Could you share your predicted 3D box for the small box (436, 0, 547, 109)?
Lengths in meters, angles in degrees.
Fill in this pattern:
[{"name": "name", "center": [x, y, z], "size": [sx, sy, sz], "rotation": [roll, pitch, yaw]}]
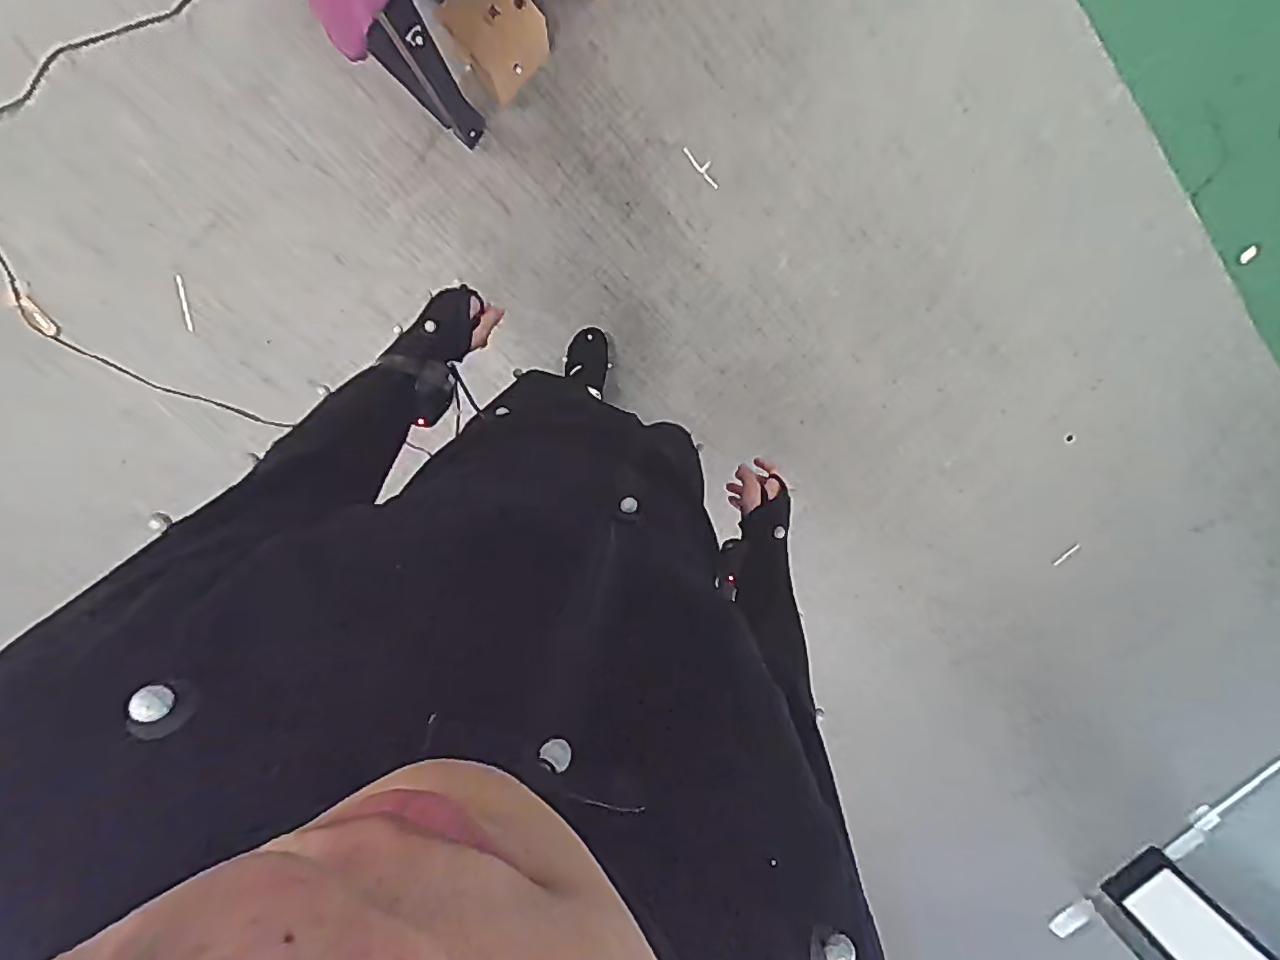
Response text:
[{"name": "small box", "center": [-0.333, -1.018, 1.257], "size": [0.179, 0.176, 0.168], "rotation": [-43, 104, 6]}]
